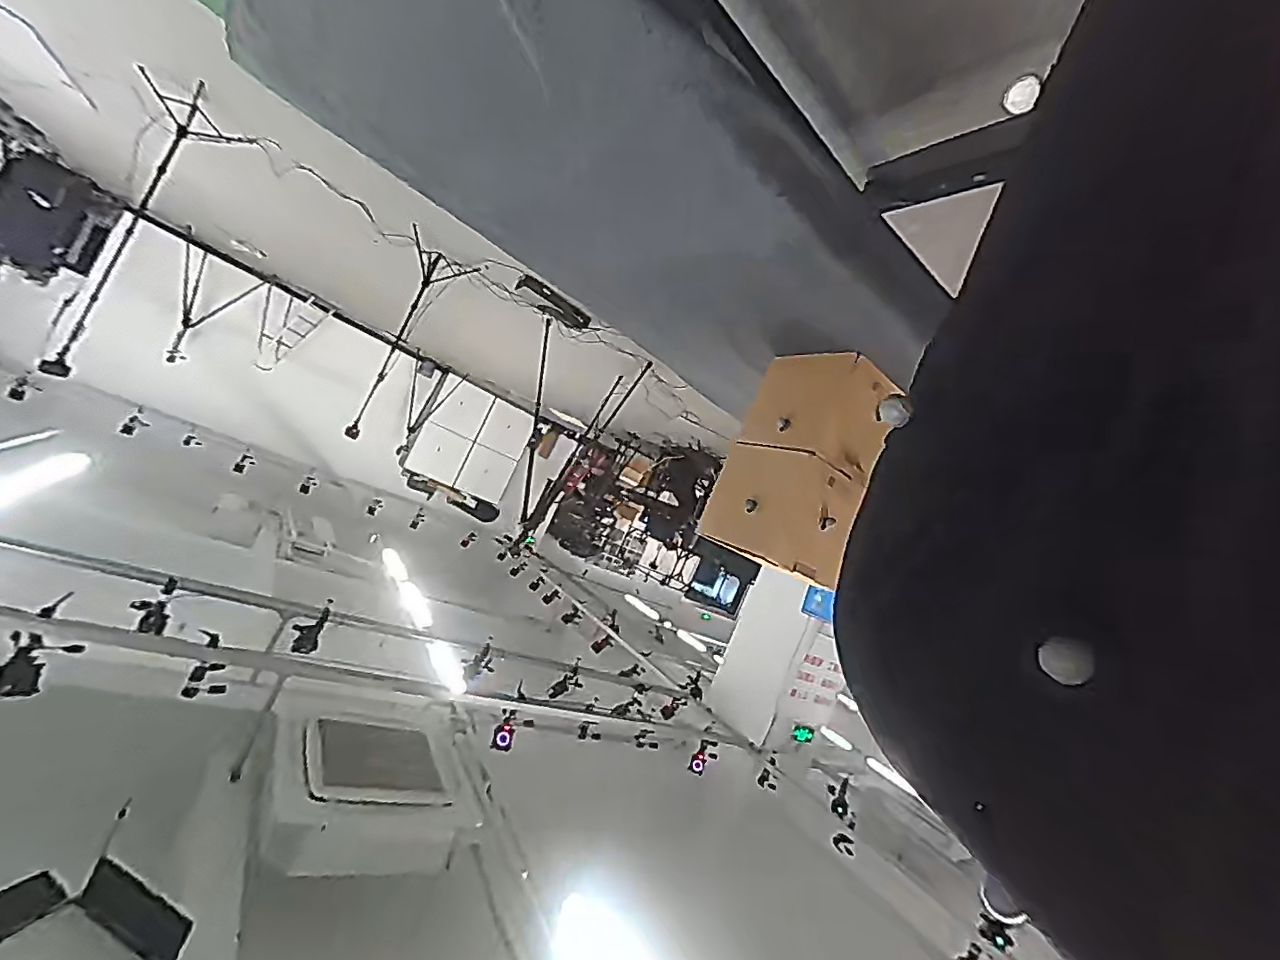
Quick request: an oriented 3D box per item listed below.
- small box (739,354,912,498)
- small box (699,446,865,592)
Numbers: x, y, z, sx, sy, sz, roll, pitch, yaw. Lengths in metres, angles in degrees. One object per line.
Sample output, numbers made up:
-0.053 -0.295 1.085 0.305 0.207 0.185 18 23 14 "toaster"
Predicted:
0.301 -0.091 0.880 0.168 0.176 0.179 28 174 -31 "small box"
0.230 0.056 0.861 0.168 0.176 0.179 28 174 -30 "small box"
